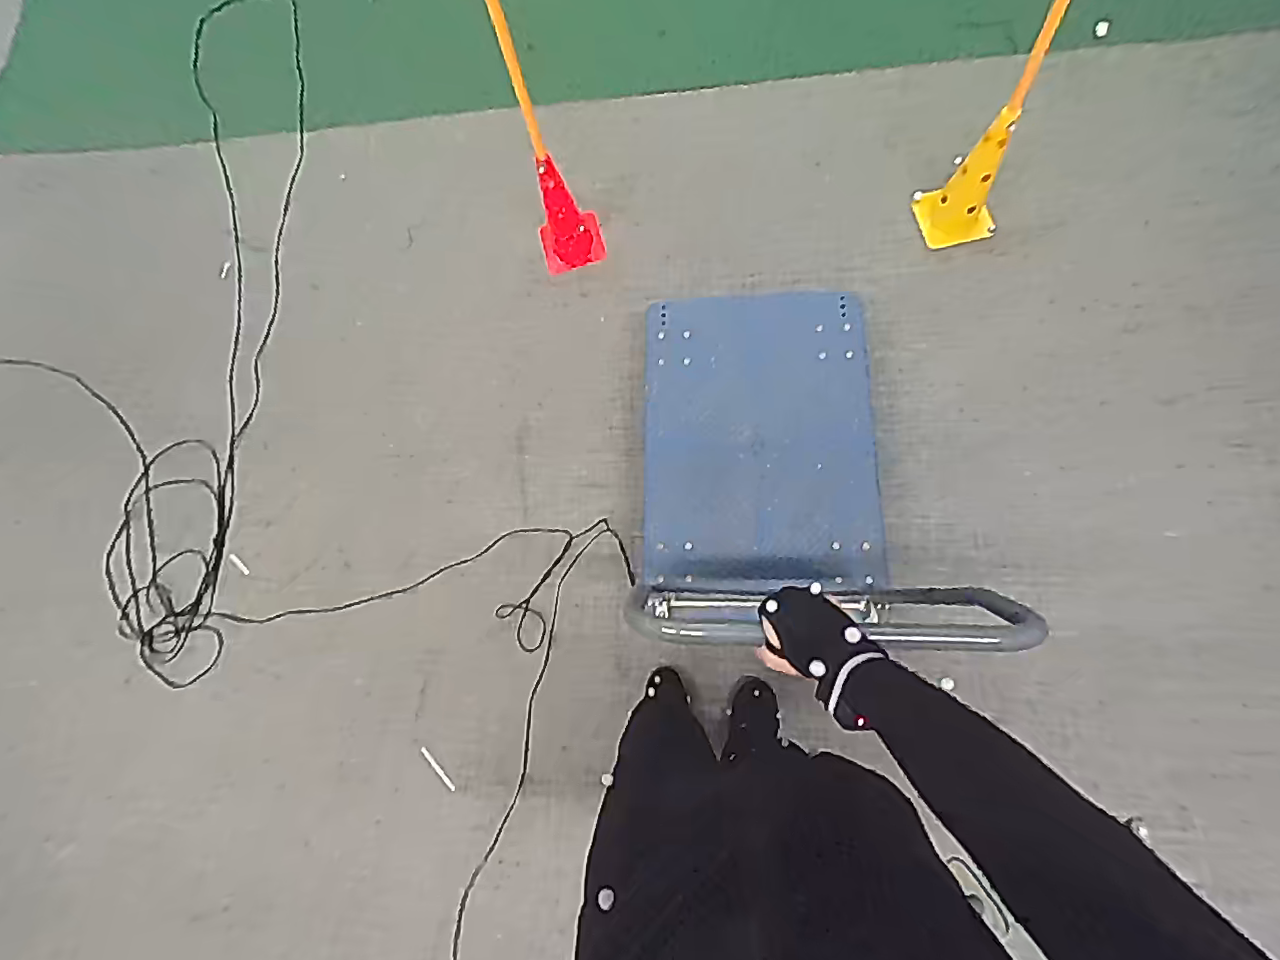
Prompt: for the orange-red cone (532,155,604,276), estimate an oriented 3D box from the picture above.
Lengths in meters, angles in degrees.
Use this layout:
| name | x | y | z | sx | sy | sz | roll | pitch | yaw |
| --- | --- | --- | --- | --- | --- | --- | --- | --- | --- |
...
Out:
| name | x | y | z | sx | sy | sz | roll | pitch | yaw |
| --- | --- | --- | --- | --- | --- | --- | --- | --- | --- |
| orange-red cone | -0.252 | -0.820 | 1.634 | 0.199 | 0.360 | 0.198 | -16 | 73 | 5 |
